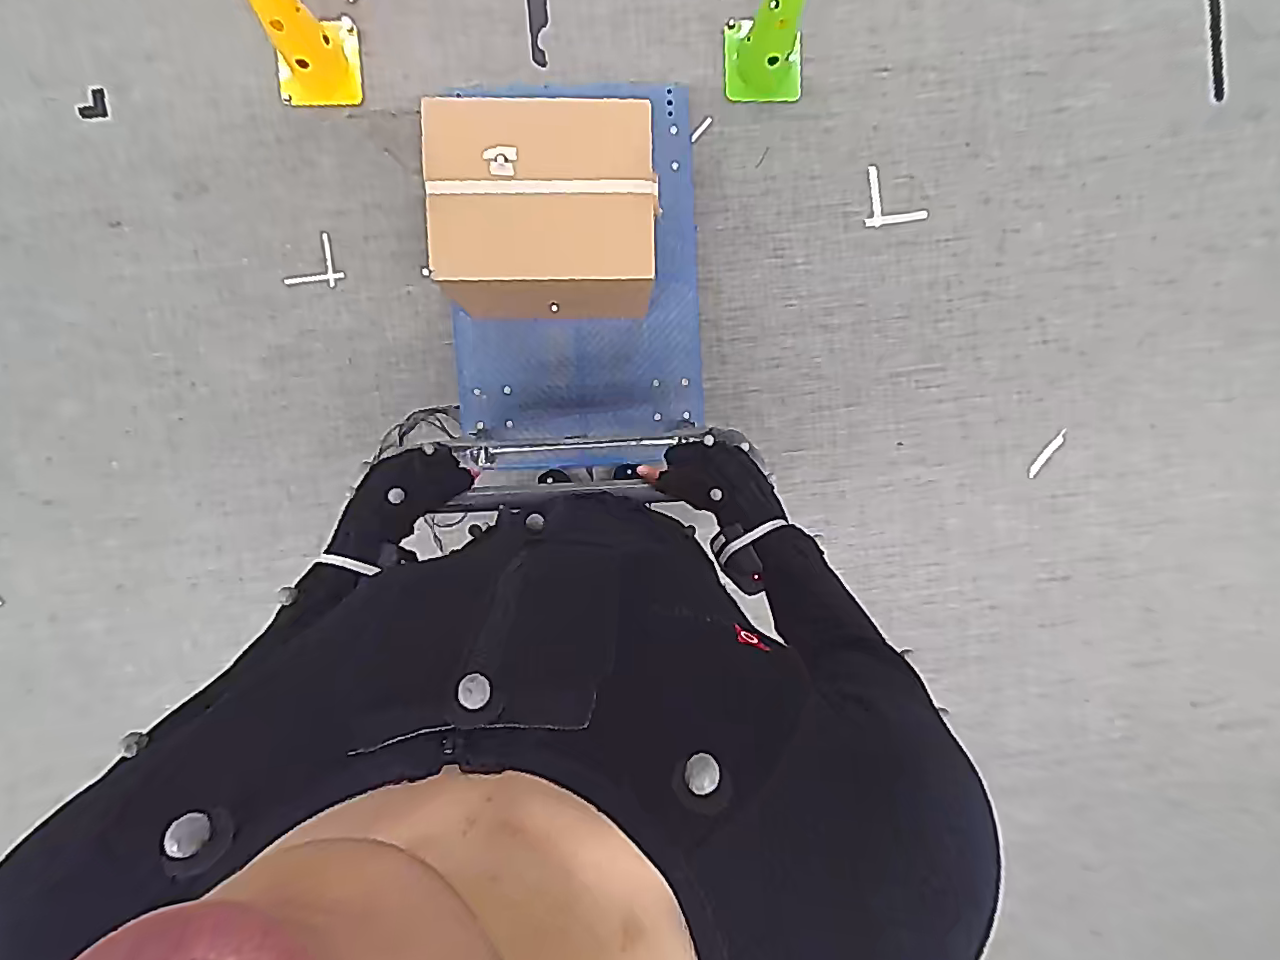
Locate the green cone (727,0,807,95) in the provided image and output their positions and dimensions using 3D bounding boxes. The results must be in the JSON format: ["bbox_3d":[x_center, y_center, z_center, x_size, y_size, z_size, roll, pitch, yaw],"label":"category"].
[{"bbox_3d":[0.338,-1.100,1.243,0.202,0.368,0.200,-2,94,-4],"label":"green cone"}]

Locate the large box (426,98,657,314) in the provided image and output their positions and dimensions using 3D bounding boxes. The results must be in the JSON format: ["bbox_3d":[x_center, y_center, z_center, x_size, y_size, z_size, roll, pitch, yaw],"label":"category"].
[{"bbox_3d":[-0.176,-0.531,1.114,0.408,0.320,0.320,-1,94,-2],"label":"large box"}]
